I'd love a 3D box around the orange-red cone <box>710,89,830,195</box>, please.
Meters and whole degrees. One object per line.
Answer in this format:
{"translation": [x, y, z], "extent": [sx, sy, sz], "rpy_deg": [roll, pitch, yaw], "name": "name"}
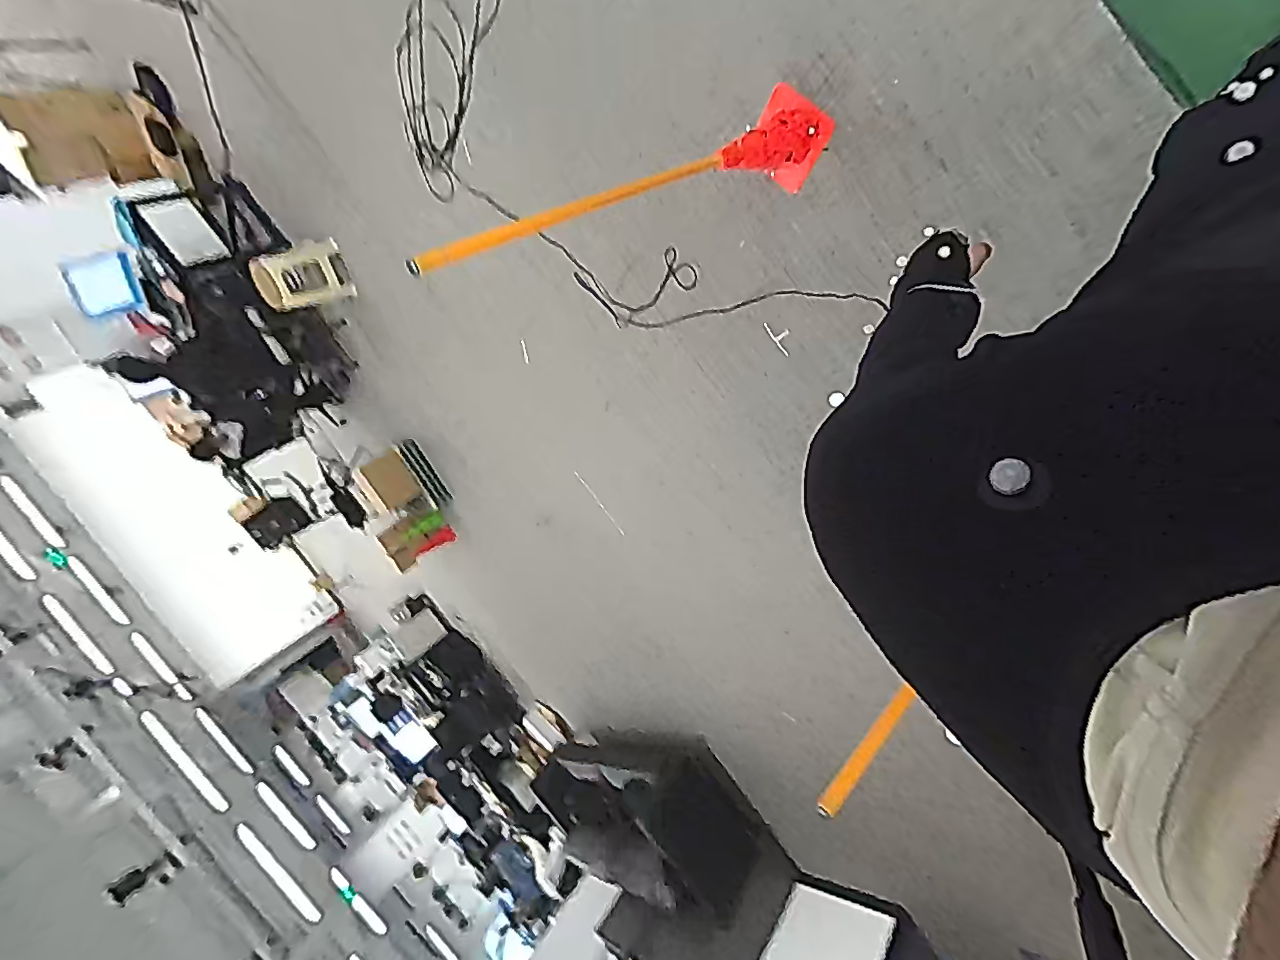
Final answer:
{"translation": [0.288, -0.832, 1.369], "extent": [0.199, 0.360, 0.198], "rpy_deg": [46, 142, 9], "name": "orange-red cone"}
